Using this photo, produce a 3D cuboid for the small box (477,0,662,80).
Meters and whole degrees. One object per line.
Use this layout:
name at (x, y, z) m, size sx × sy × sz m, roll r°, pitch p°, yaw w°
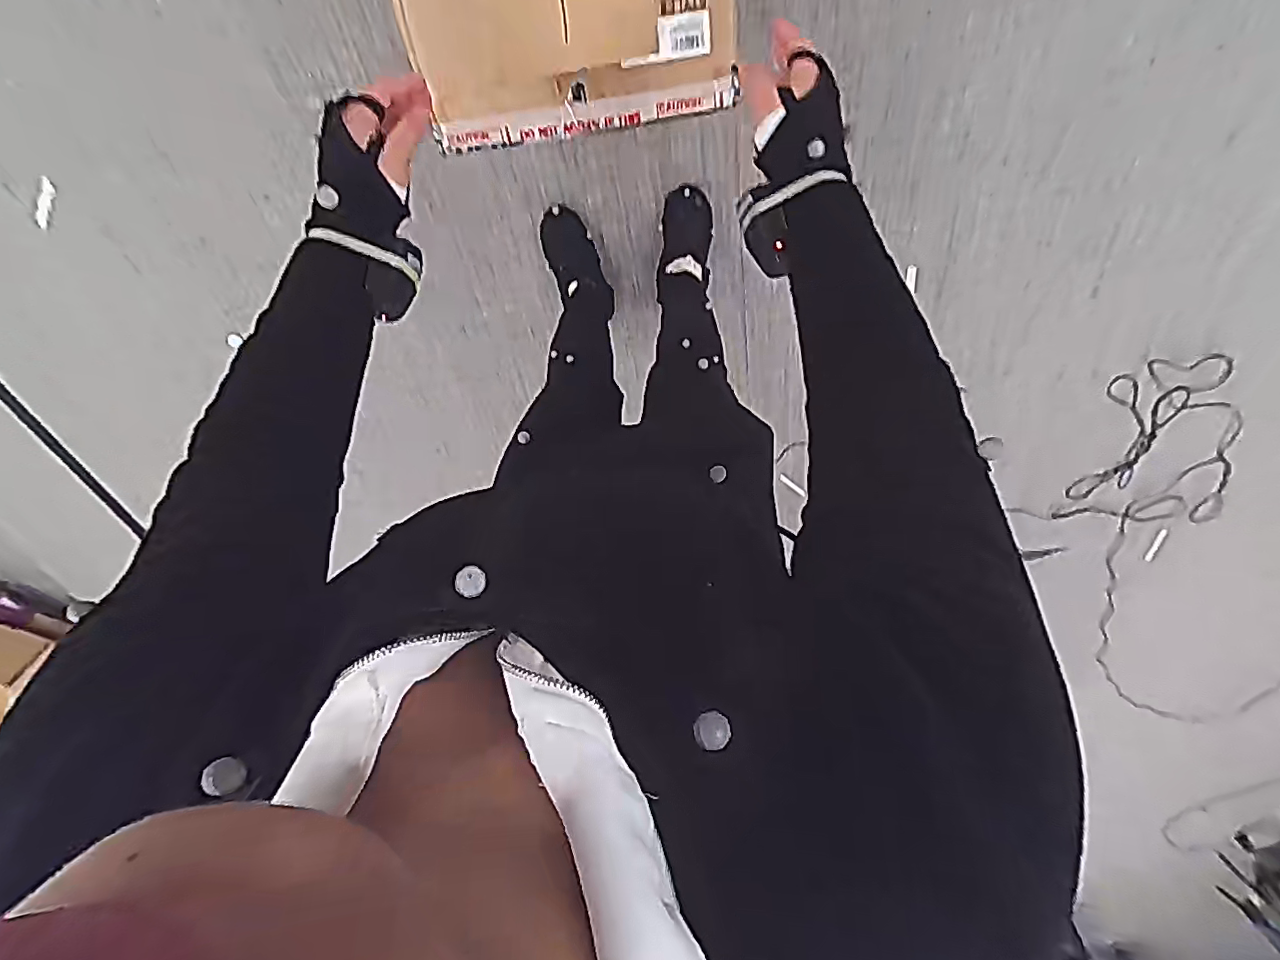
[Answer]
small box at (-0.071, -0.516, 0.529) m, size 0.168 × 0.176 × 0.179 m, roll -6°, pitch 131°, yaw 6°
